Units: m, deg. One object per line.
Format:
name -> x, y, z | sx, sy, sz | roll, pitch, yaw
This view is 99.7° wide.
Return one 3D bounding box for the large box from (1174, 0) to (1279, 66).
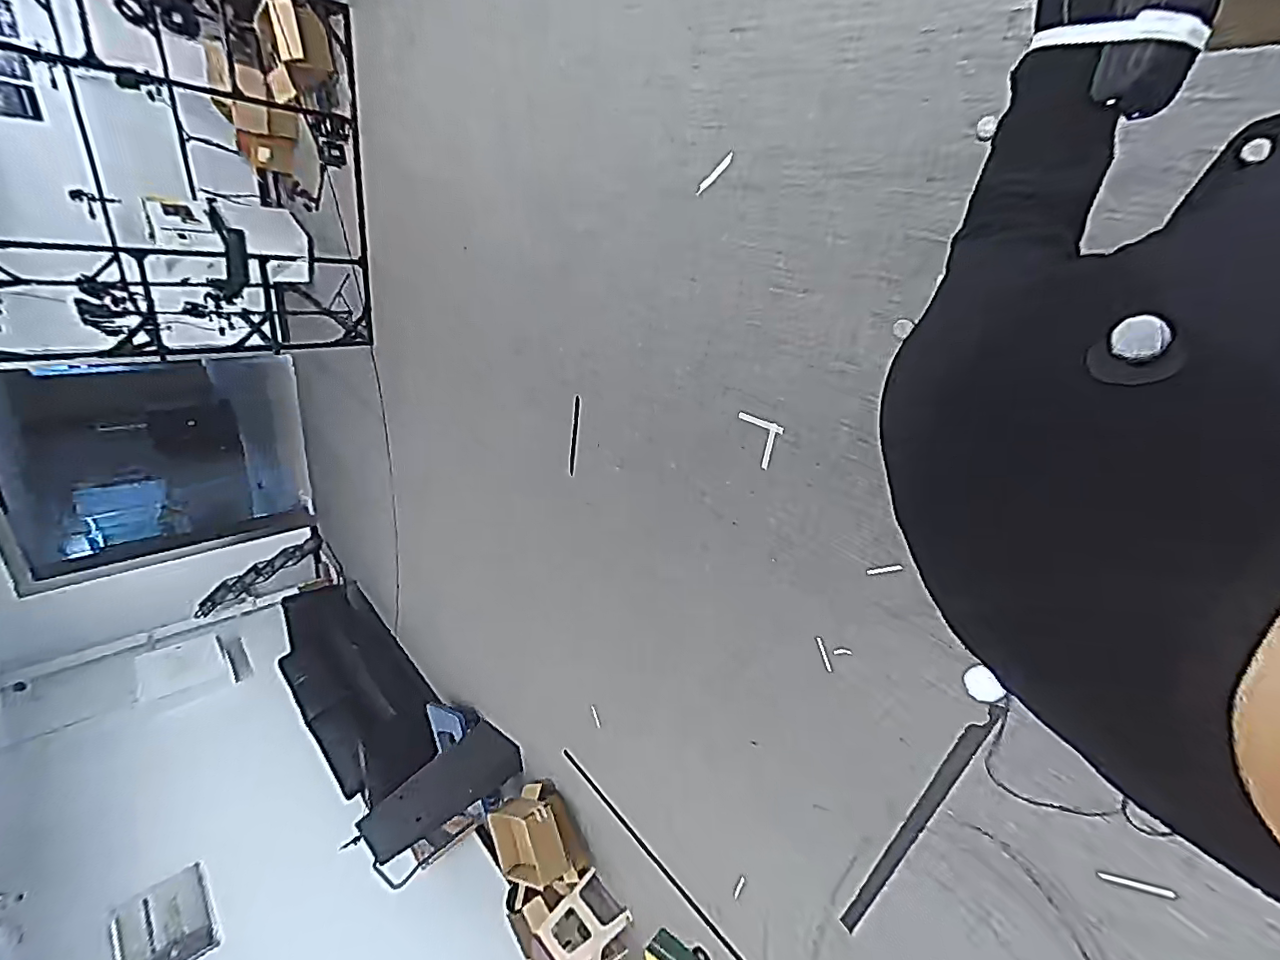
large box -> 0.558, -0.428, 0.235 | 0.408, 0.320, 0.320 | 23, 124, 37
